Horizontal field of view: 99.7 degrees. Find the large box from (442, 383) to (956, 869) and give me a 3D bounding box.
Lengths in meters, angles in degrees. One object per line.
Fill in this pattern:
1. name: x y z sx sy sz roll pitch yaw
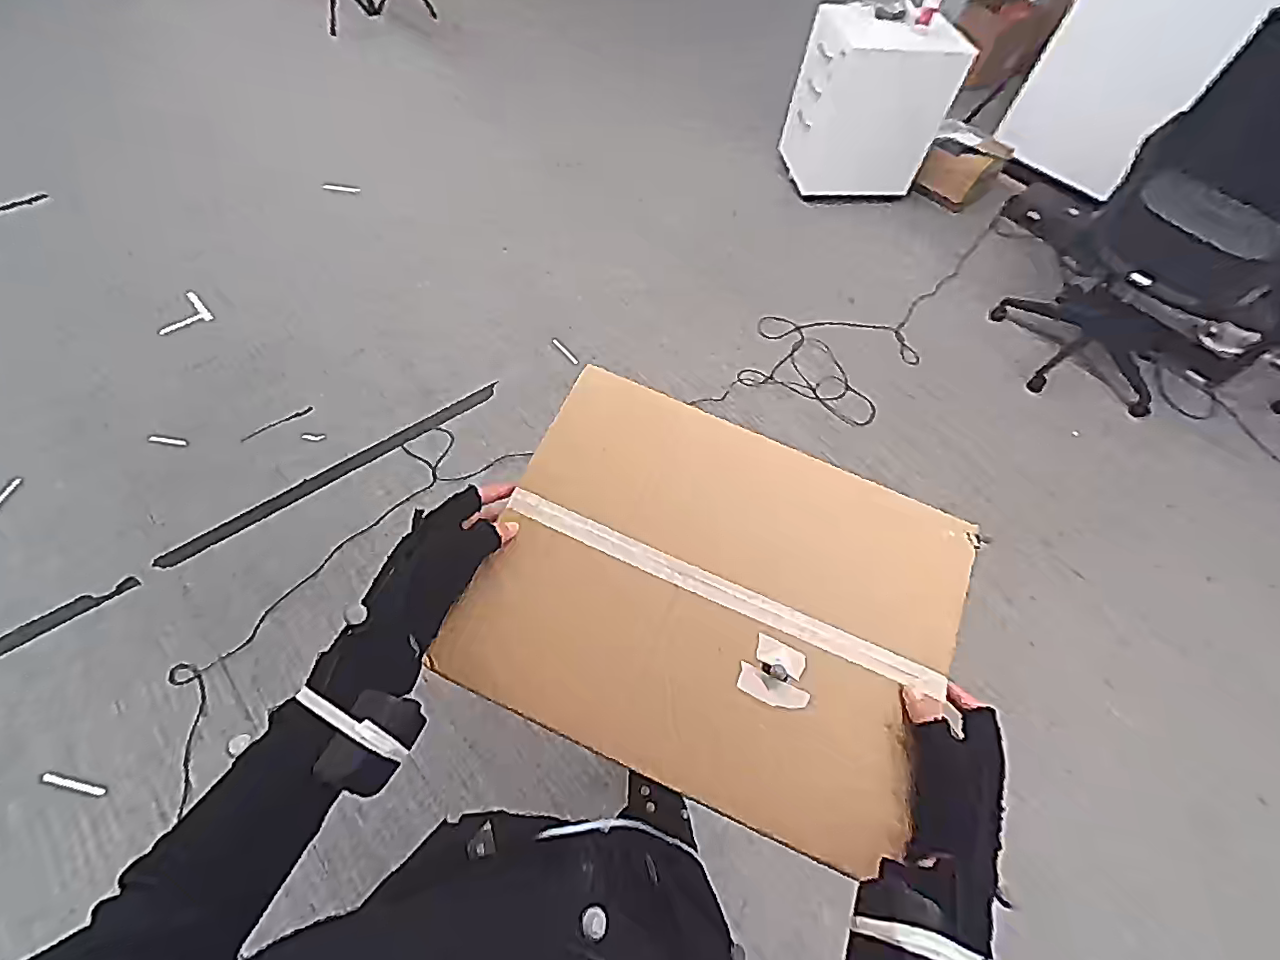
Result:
1. large box: 0.058 0.154 0.629 0.408 0.320 0.320 24 71 5
